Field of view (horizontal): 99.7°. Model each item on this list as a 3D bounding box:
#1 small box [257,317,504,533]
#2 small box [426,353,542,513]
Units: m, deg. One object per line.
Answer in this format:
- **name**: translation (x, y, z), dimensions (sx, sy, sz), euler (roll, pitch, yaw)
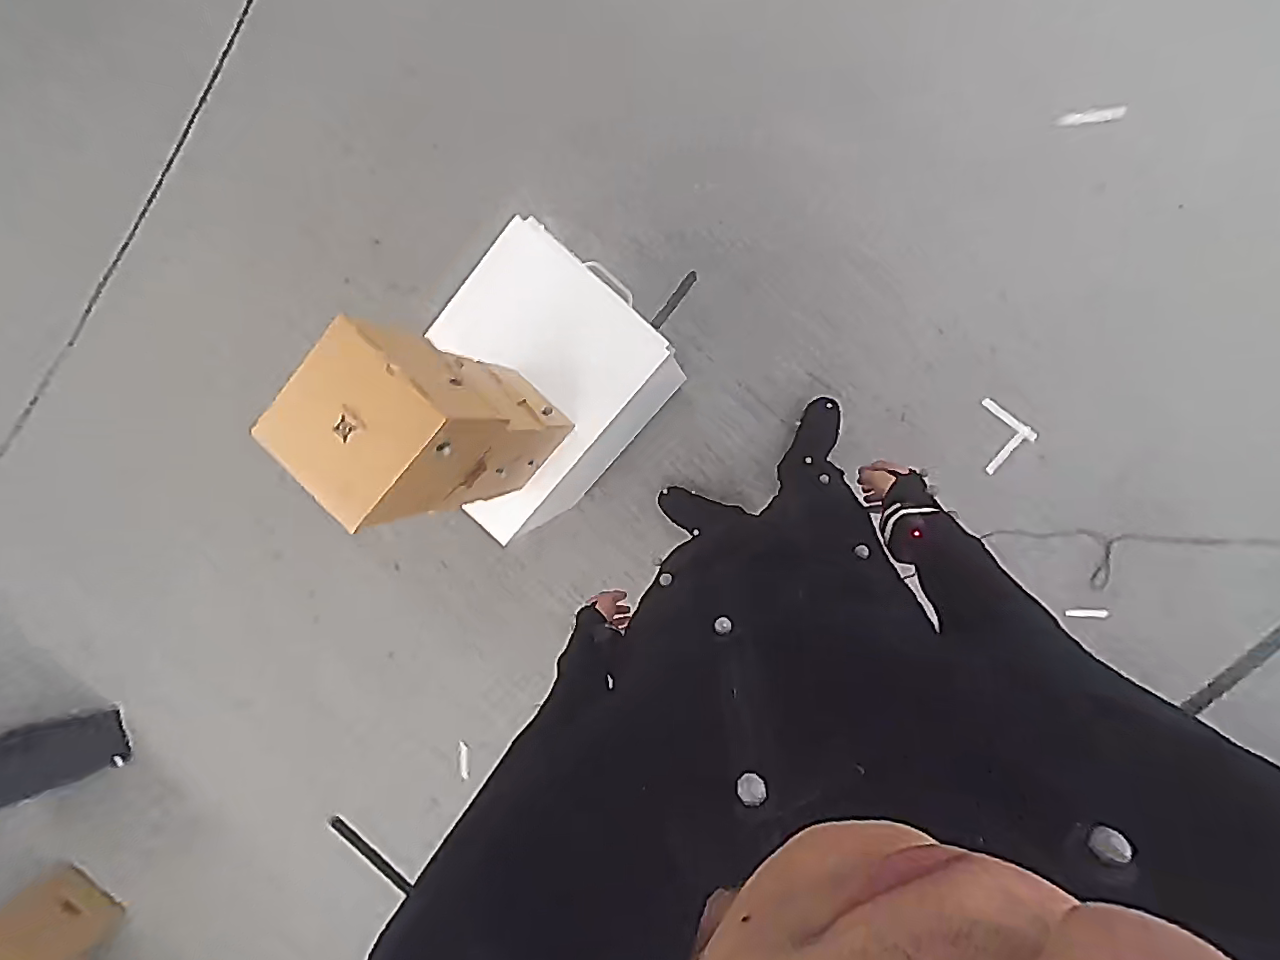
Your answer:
- **small box**: translation (-0.299, -0.063, 0.659), dimensions (0.168, 0.176, 0.179), euler (43, 99, 3)
- **small box**: translation (-0.282, -0.074, 0.821), dimensions (0.179, 0.176, 0.168), euler (44, 100, 2)
